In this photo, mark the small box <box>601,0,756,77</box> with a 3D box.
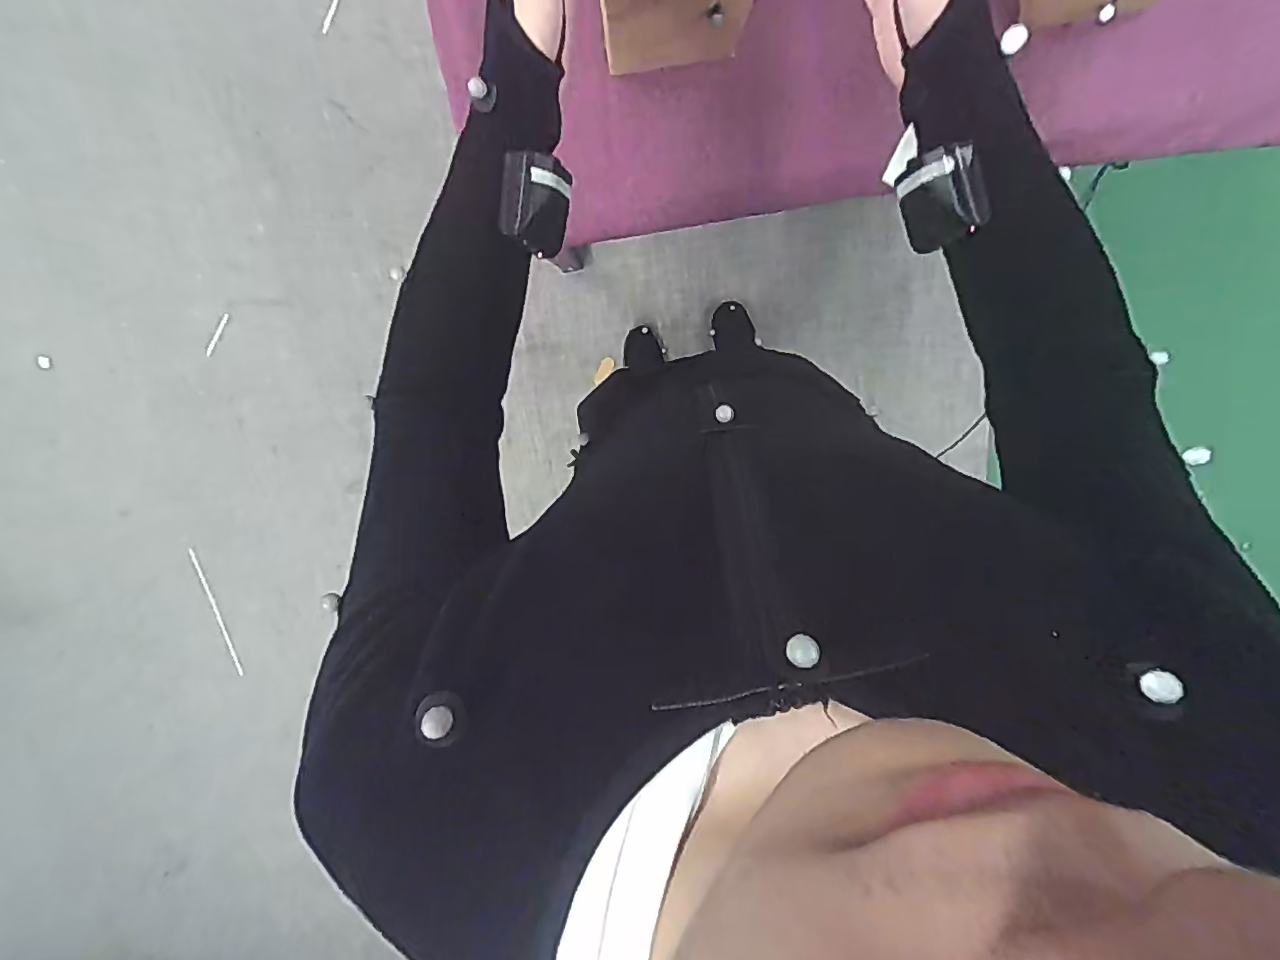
[{"bbox_3d":[0.036,-0.628,0.655,0.179,0.176,0.168,-7,105,2],"label":"small box"}]

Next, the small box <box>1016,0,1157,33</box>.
[{"bbox_3d":[0.589,-0.676,0.637,0.179,0.176,0.168,-9,105,3],"label":"small box"}]

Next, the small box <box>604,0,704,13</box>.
[{"bbox_3d":[0.036,-0.582,0.500,0.179,0.176,0.168,-8,106,3],"label":"small box"}]
